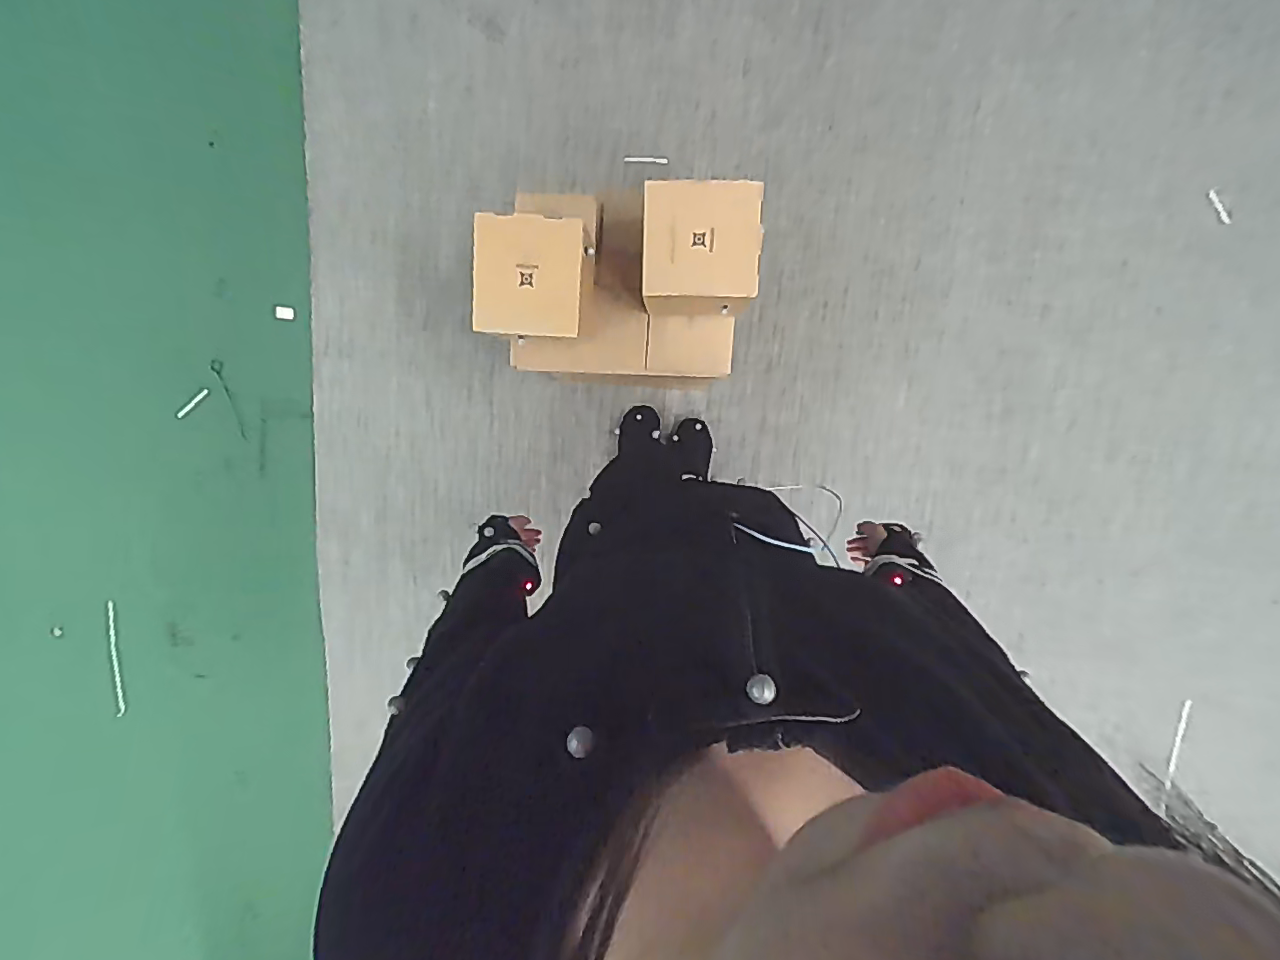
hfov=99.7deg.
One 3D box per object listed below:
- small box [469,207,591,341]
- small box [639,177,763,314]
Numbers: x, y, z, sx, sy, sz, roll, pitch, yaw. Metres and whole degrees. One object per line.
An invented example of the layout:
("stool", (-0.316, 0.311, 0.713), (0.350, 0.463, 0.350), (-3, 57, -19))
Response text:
("small box", (-0.174, -0.328, 0.893), (0.168, 0.176, 0.179), (4, 100, 0))
("small box", (0.092, -0.369, 0.877), (0.179, 0.176, 0.168), (3, 98, 3))
